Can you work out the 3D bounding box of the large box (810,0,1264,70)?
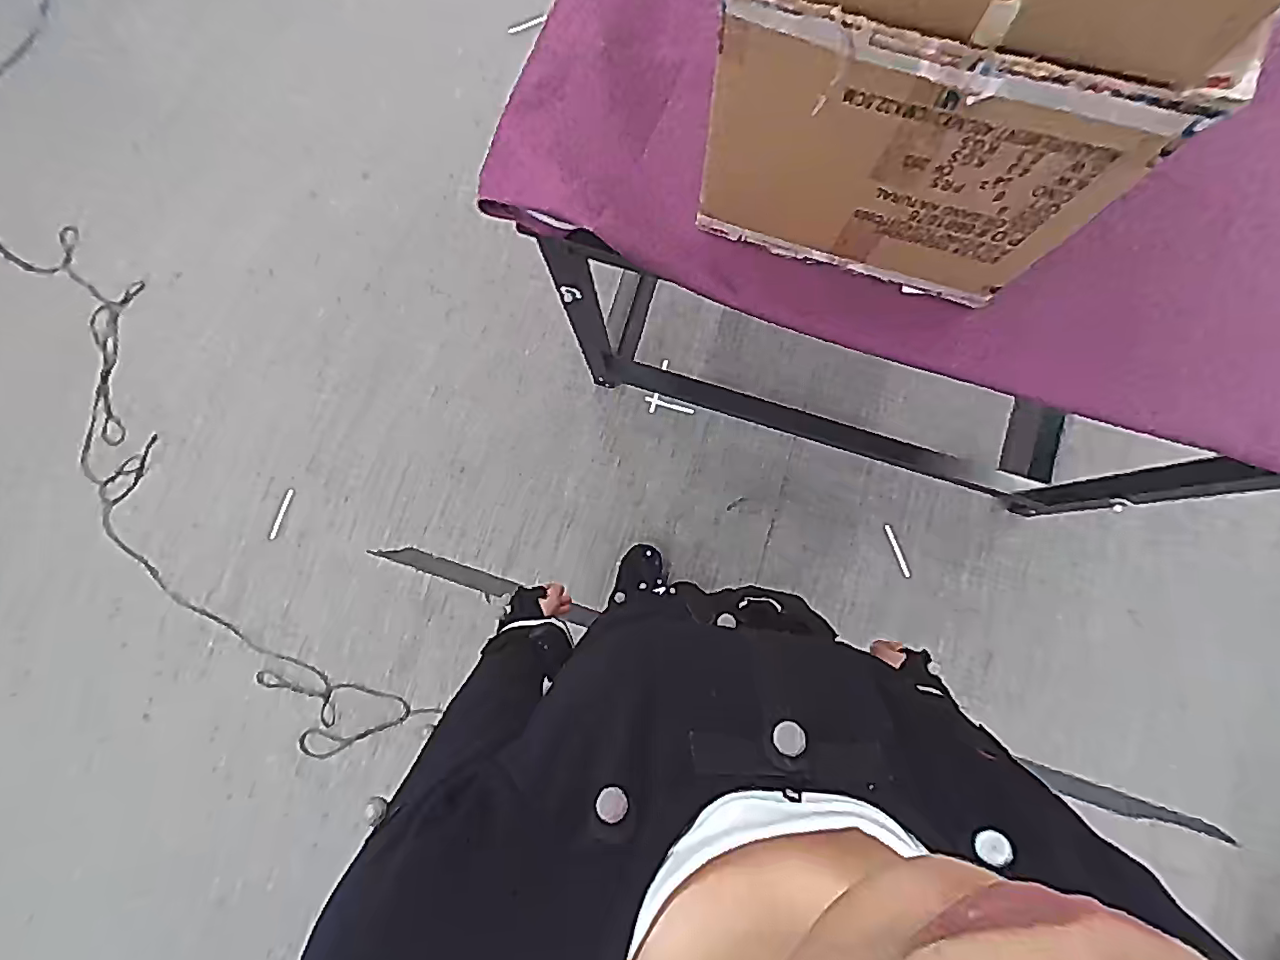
[{"bbox_3d":[0.314,-0.551,0.293,0.320,0.320,0.408,18,84,9],"label":"large box"}]
